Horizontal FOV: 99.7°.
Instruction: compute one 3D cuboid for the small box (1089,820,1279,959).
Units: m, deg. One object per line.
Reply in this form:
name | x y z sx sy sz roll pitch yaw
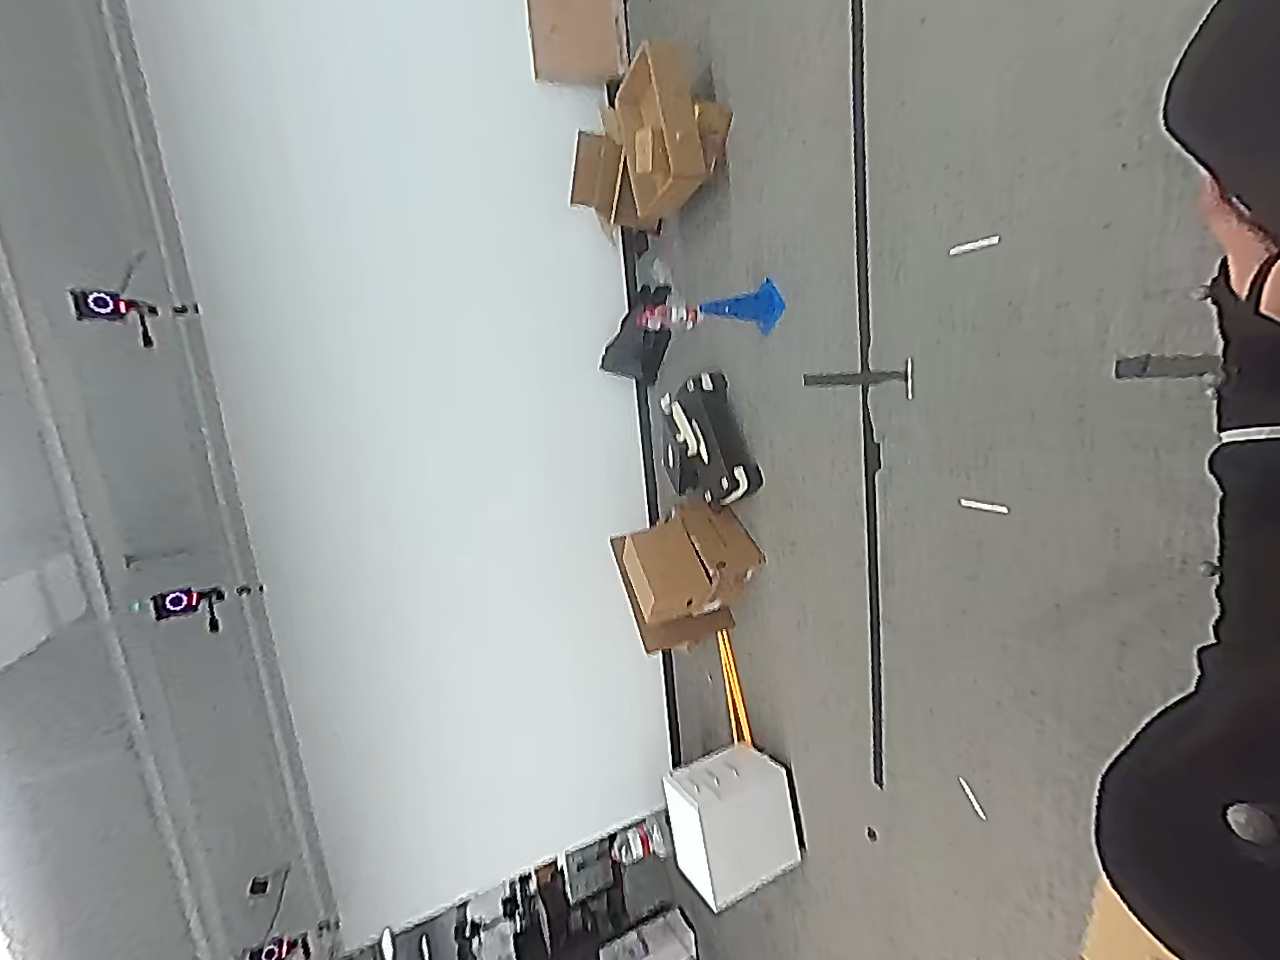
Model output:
small box | 0.746 0.605 0.713 0.168 0.176 0.179 27 125 60
